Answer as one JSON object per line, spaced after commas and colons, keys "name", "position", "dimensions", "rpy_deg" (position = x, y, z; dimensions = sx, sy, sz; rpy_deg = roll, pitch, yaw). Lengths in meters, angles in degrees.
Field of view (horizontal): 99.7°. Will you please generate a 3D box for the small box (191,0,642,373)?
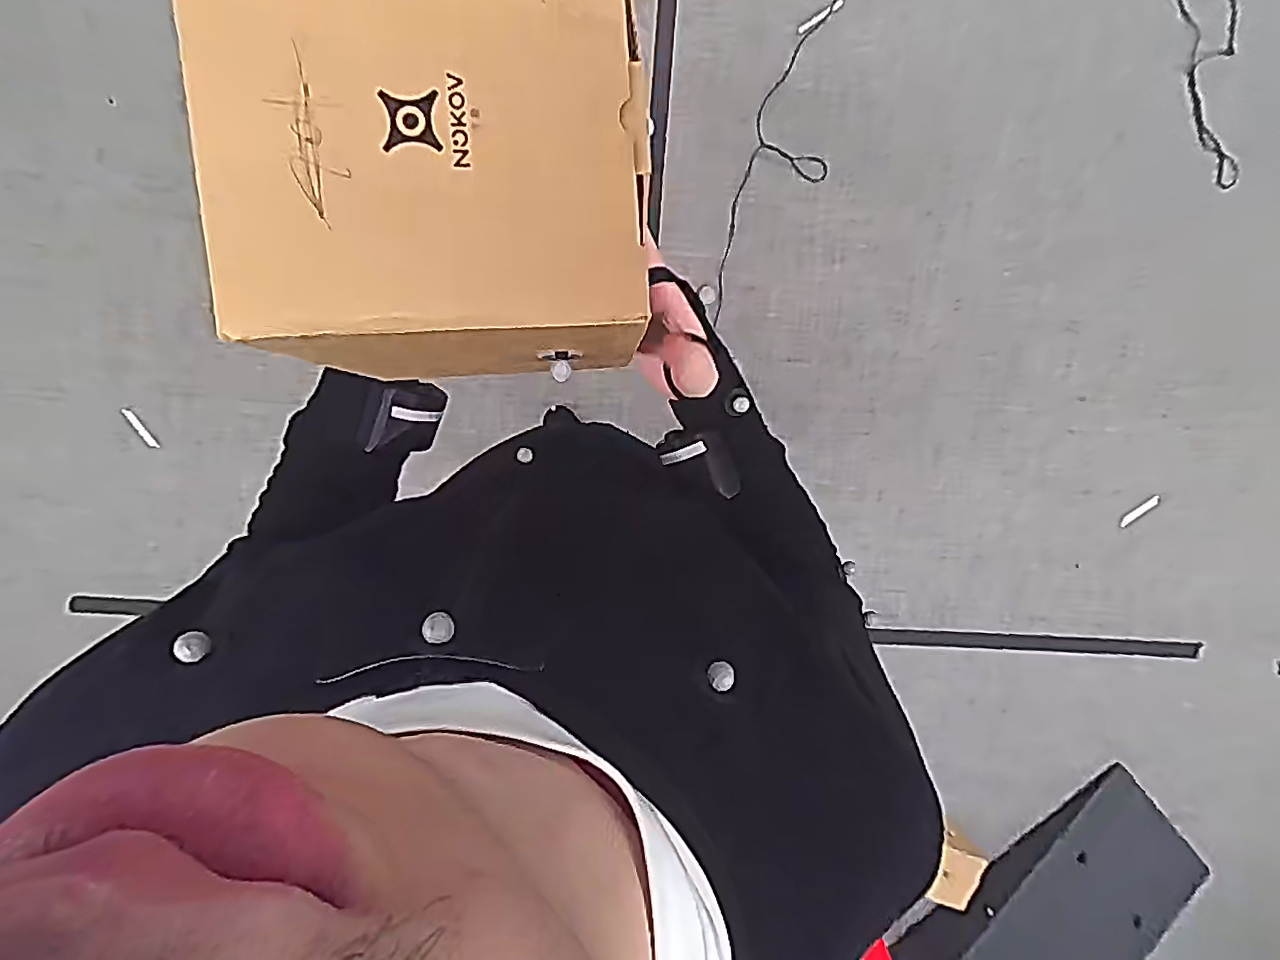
{"name": "small box", "position": [-0.097, -0.155, 0.307], "dimensions": [0.179, 0.176, 0.168], "rpy_deg": [-4, 95, -4]}
